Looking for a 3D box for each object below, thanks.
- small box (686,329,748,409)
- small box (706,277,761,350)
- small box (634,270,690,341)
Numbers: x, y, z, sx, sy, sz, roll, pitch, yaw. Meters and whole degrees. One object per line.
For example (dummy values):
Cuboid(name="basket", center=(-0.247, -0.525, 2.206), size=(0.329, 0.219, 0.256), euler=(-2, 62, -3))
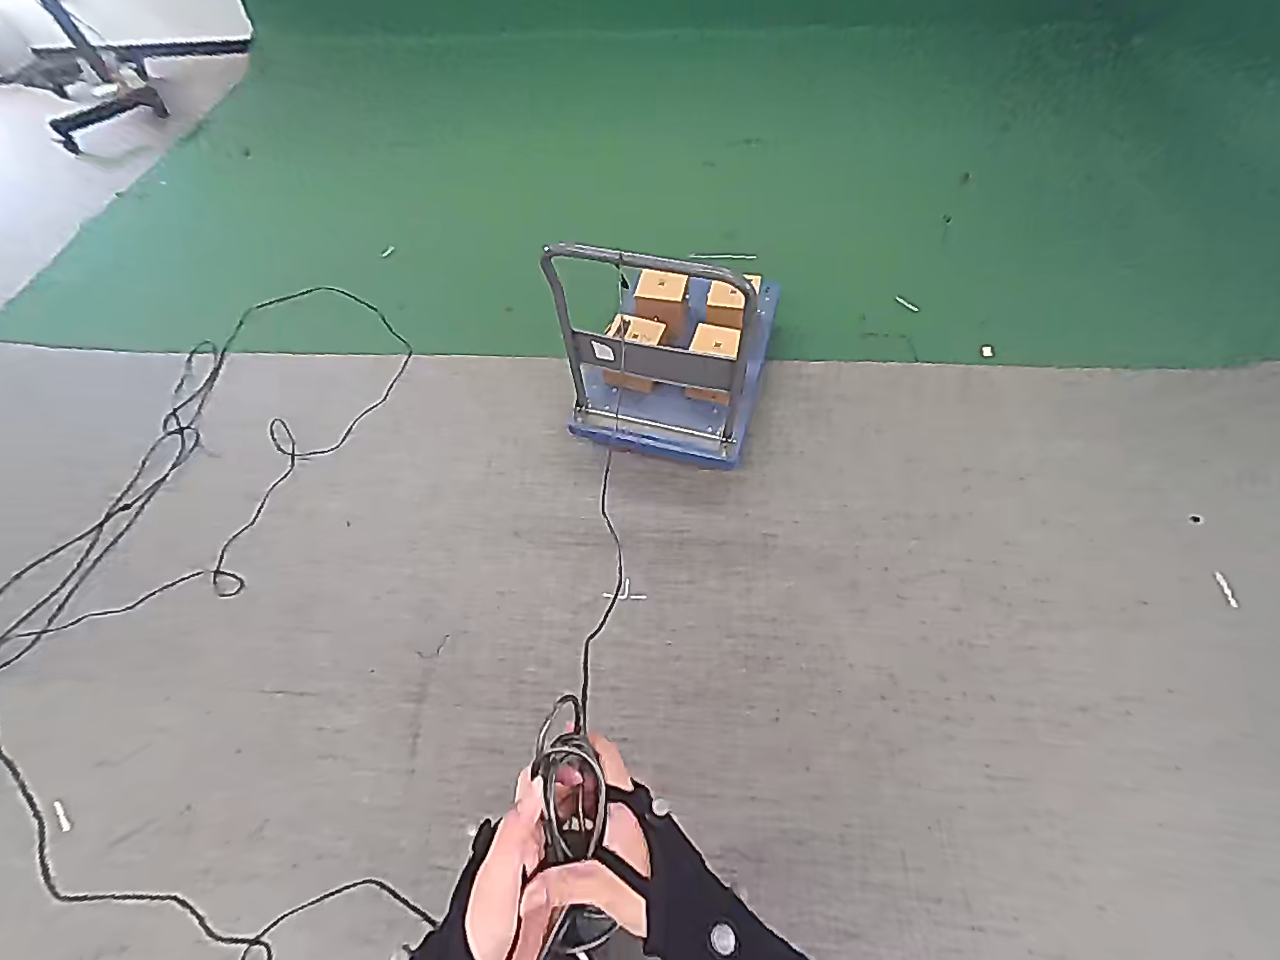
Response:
Cuboid(name="small box", center=(0.250, -0.365, 1.783), size=(0.168, 0.176, 0.179), euler=(14, 60, 12))
Cuboid(name="small box", center=(0.328, -0.588, 1.915), size=(0.168, 0.176, 0.179), euler=(9, 60, 11))
Cuboid(name="small box", center=(0.083, -0.628, 1.957), size=(0.168, 0.176, 0.179), euler=(10, 59, 9))
